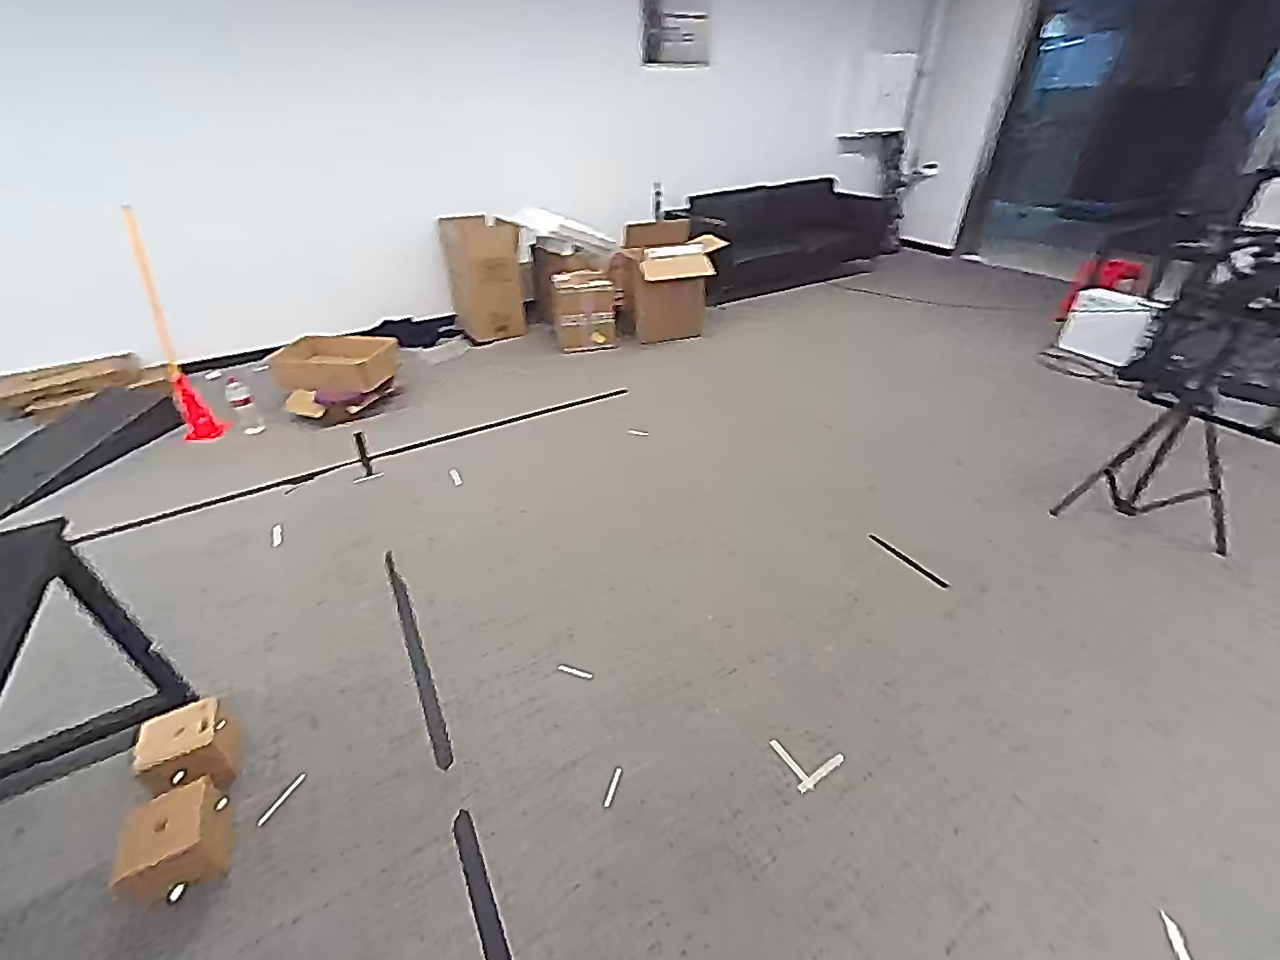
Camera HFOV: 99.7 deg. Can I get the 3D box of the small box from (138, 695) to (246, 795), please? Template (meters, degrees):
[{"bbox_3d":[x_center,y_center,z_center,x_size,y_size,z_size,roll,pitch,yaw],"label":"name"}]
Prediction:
[{"bbox_3d":[-1.248,0.754,1.520,0.179,0.176,0.168,-20,40,-24],"label":"small box"}]

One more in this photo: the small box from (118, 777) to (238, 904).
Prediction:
[{"bbox_3d":[-1.122,0.886,1.330,0.168,0.176,0.179,-20,40,-23],"label":"small box"}]
